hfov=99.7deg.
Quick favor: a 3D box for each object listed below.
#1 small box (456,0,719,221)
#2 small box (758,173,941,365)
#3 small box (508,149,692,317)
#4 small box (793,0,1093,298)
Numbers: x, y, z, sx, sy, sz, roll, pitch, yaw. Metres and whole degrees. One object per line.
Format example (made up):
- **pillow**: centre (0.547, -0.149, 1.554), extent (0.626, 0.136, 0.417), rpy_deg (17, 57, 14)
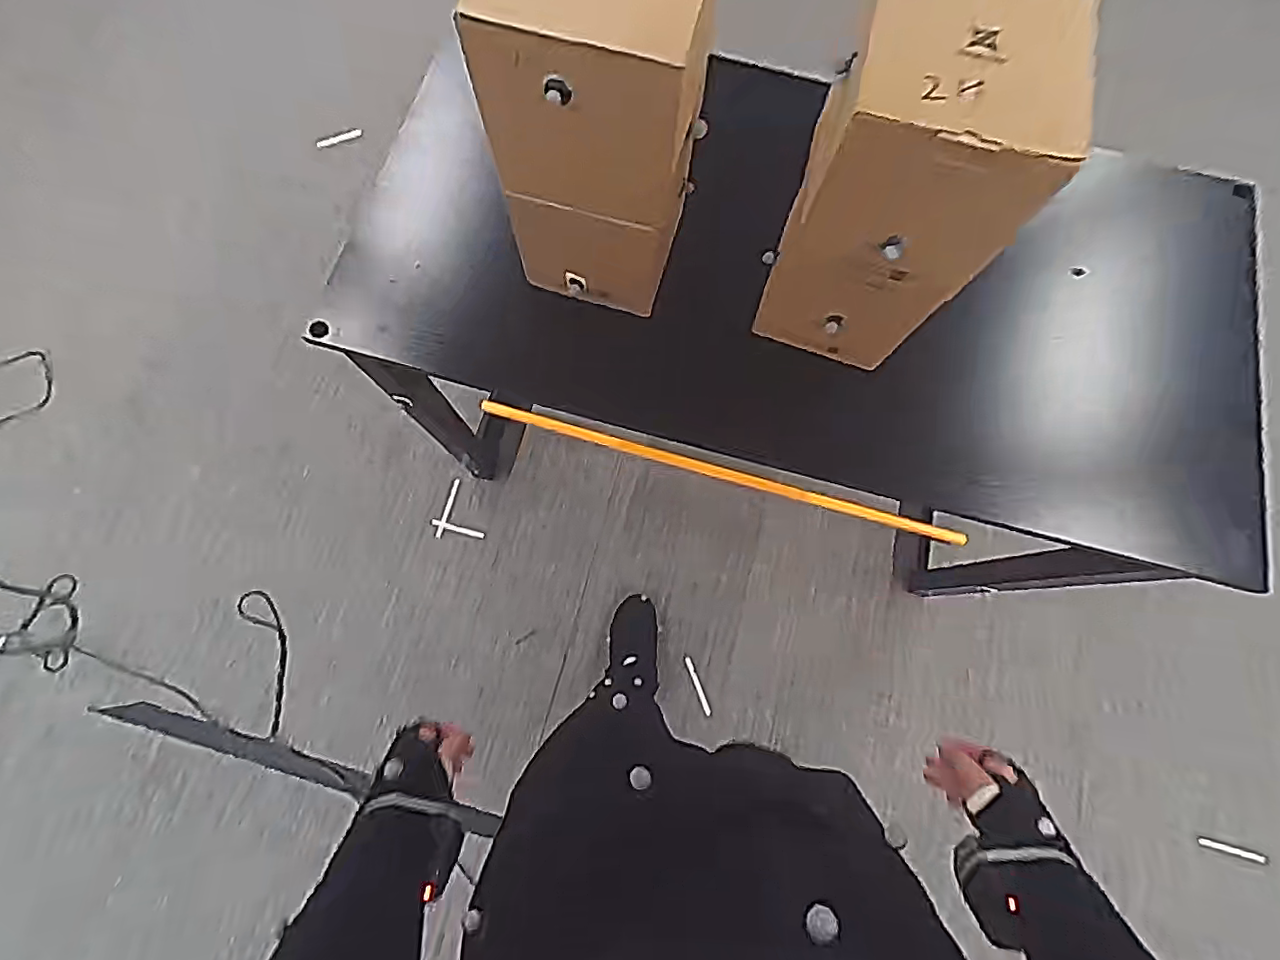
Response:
- **small box**: centre (-0.034, -0.368, 0.488), extent (0.179, 0.176, 0.168), rpy_deg (14, 76, 2)
- **small box**: centre (0.251, -0.263, 0.641), extent (0.168, 0.176, 0.179), rpy_deg (19, 76, 3)
- **small box**: centre (-0.040, -0.330, 0.648), extent (0.168, 0.176, 0.179), rpy_deg (15, 77, 3)
- **small box**: centre (0.248, -0.297, 0.479), extent (0.168, 0.176, 0.179), rpy_deg (14, 76, 2)
